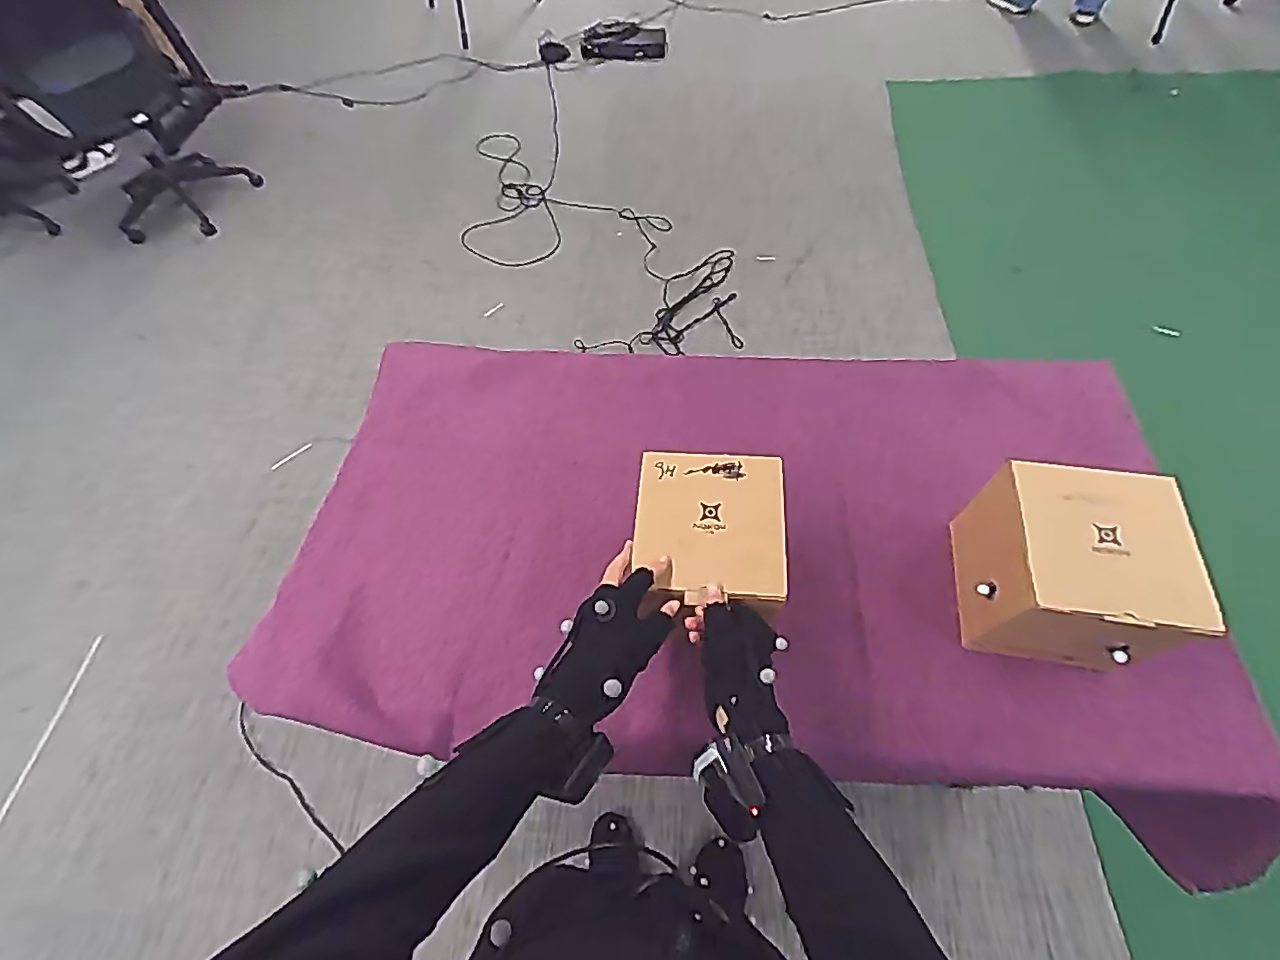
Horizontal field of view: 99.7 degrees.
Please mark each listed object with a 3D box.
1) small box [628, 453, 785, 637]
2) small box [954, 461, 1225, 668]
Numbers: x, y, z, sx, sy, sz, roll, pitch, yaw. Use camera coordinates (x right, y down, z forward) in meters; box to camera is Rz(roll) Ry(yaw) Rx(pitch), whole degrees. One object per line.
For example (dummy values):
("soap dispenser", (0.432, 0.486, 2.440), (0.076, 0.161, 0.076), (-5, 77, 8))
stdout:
("small box", (0.084, 0.086, 0.668), (0.168, 0.176, 0.179), (3, 60, 6))
("small box", (0.486, 0.103, 0.622), (0.168, 0.176, 0.179), (8, 60, 10))
